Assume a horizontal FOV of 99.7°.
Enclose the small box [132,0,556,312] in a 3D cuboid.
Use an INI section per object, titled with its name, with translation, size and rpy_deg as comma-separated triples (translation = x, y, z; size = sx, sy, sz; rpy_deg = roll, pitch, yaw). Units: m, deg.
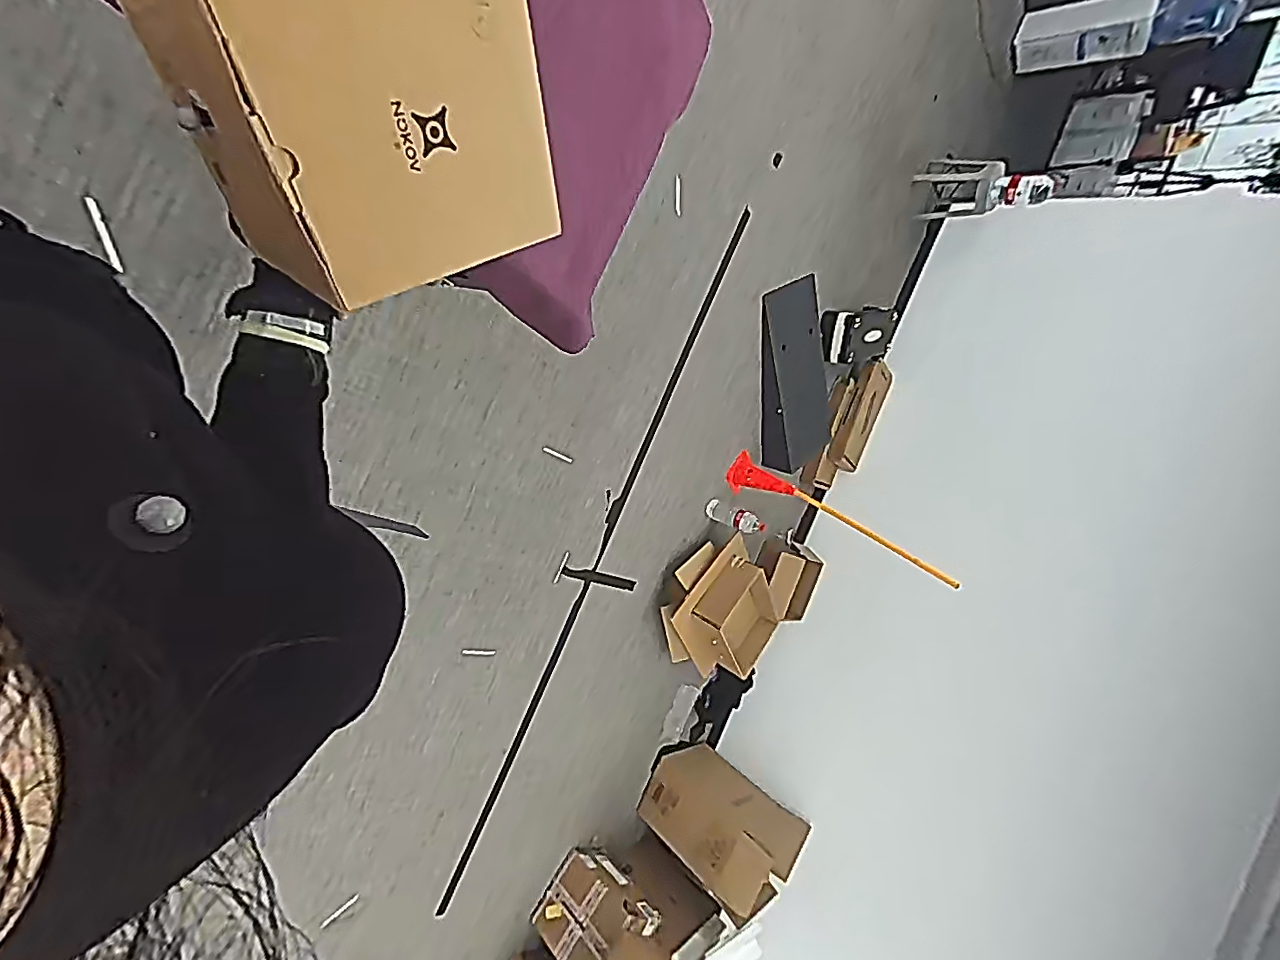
[small box]
translation = -0.186, -0.246, 0.372
size = 0.179, 0.176, 0.168
rpy_deg = -36, 142, -29
